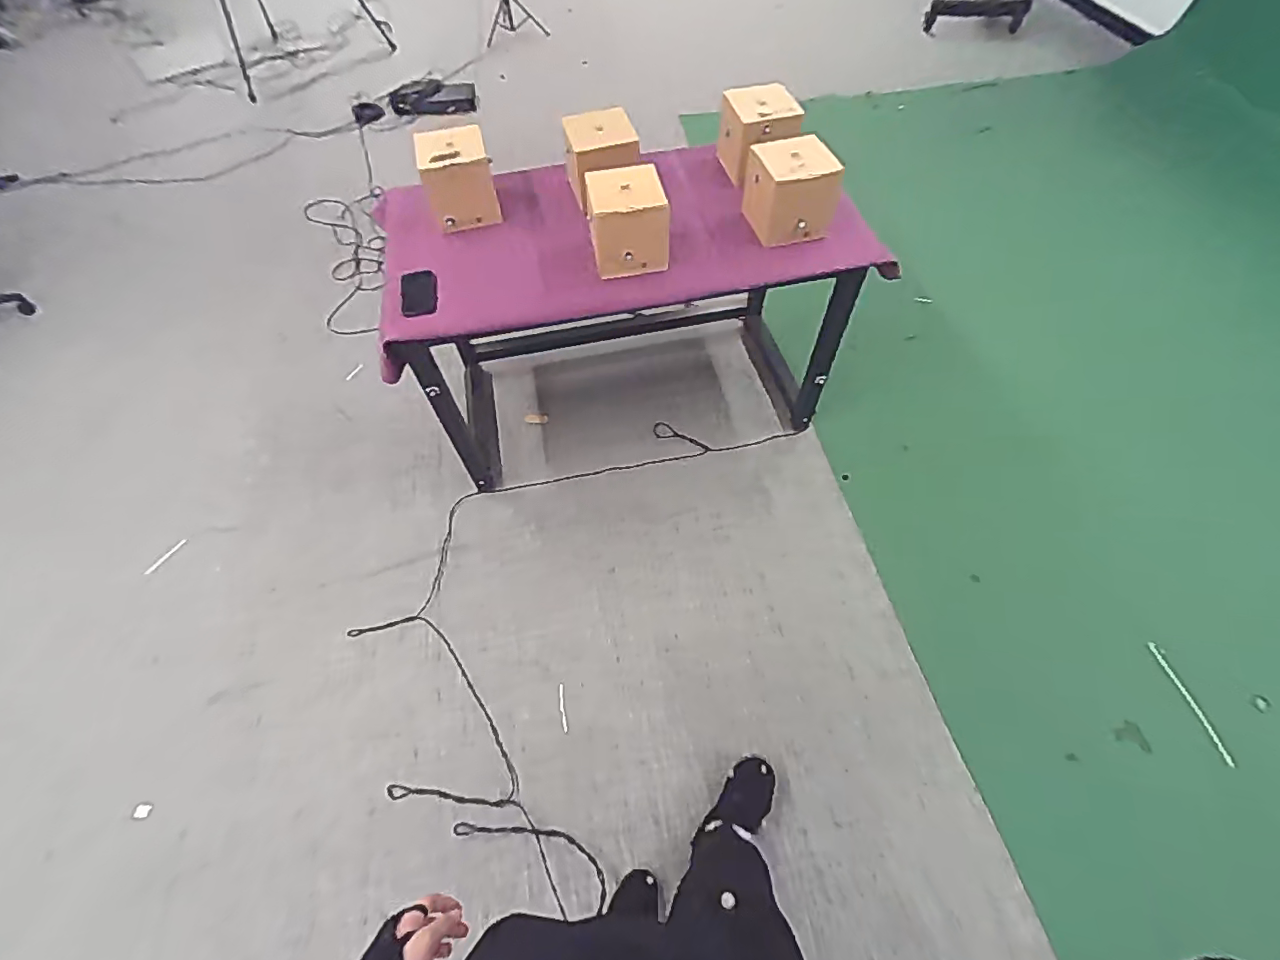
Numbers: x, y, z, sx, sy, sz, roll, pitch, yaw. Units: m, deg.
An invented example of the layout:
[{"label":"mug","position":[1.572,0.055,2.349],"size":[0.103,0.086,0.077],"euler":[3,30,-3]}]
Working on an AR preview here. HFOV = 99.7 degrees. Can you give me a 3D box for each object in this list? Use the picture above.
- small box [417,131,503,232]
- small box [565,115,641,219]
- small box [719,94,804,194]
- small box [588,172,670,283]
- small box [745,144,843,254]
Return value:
[{"label":"small box","position":[-0.460,-0.763,1.398],"size":[0.168,0.176,0.179],"euler":[-14,58,-8]},{"label":"small box","position":[-0.096,-0.825,1.430],"size":[0.168,0.176,0.179],"euler":[-14,59,-6]},{"label":"small box","position":[0.321,-0.915,1.475],"size":[0.168,0.176,0.179],"euler":[-13,58,-5]},{"label":"small box","position":[-0.027,-0.597,1.284],"size":[0.168,0.176,0.179],"euler":[-10,57,-5]},{"label":"small box","position":[0.366,-0.687,1.327],"size":[0.168,0.176,0.179],"euler":[-12,57,-5]}]
